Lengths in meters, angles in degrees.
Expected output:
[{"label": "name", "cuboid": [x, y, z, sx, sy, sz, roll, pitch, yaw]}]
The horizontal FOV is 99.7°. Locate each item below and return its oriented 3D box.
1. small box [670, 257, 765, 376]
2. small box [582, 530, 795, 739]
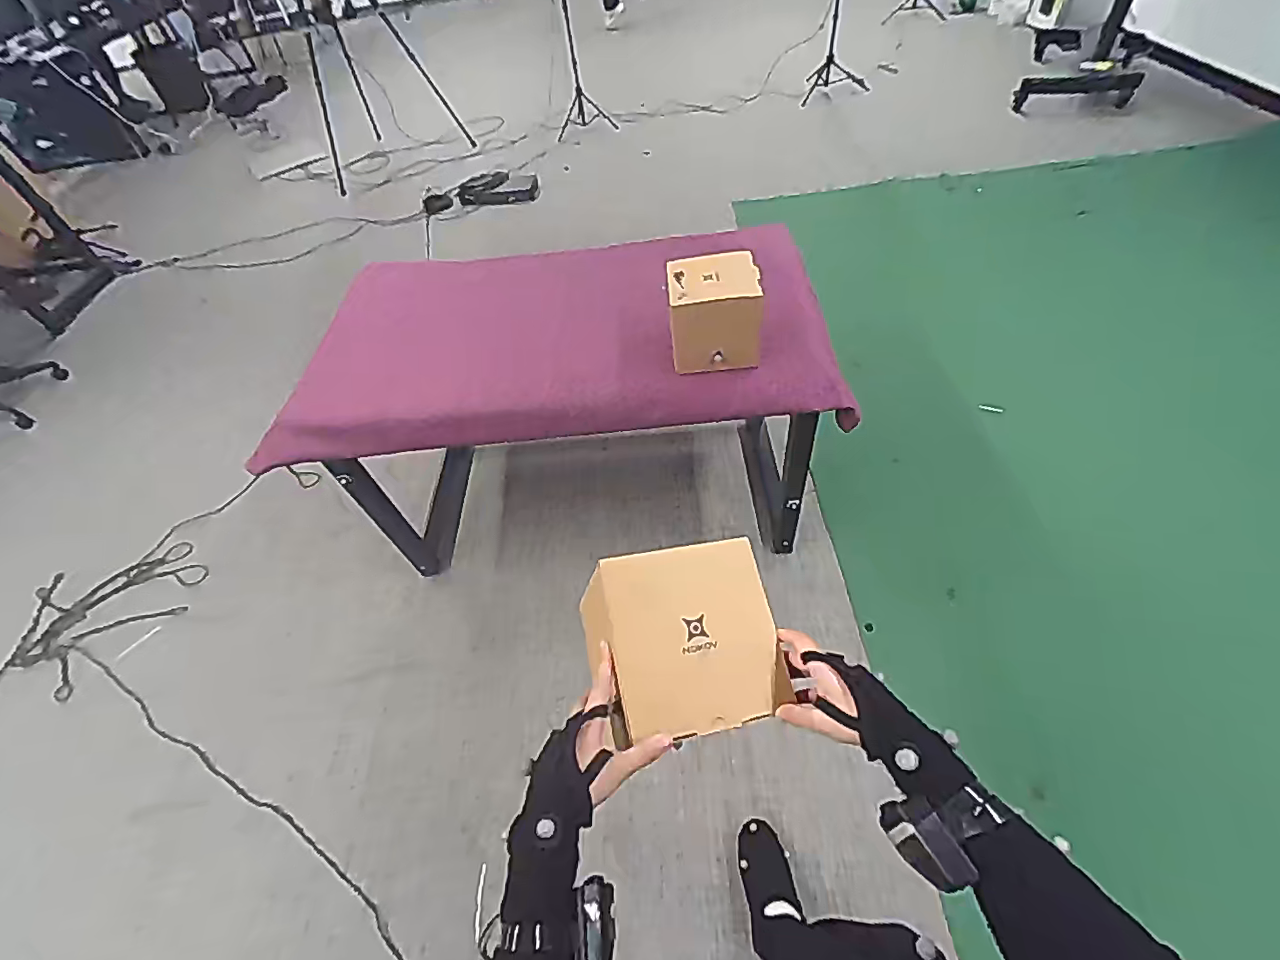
[{"label": "small box", "cuboid": [0.155, -0.334, 1.120, 0.179, 0.176, 0.168, -5, 49, 5]}, {"label": "small box", "cuboid": [0.036, 0.172, 0.589, 0.168, 0.176, 0.179, -6, 66, -15]}]
